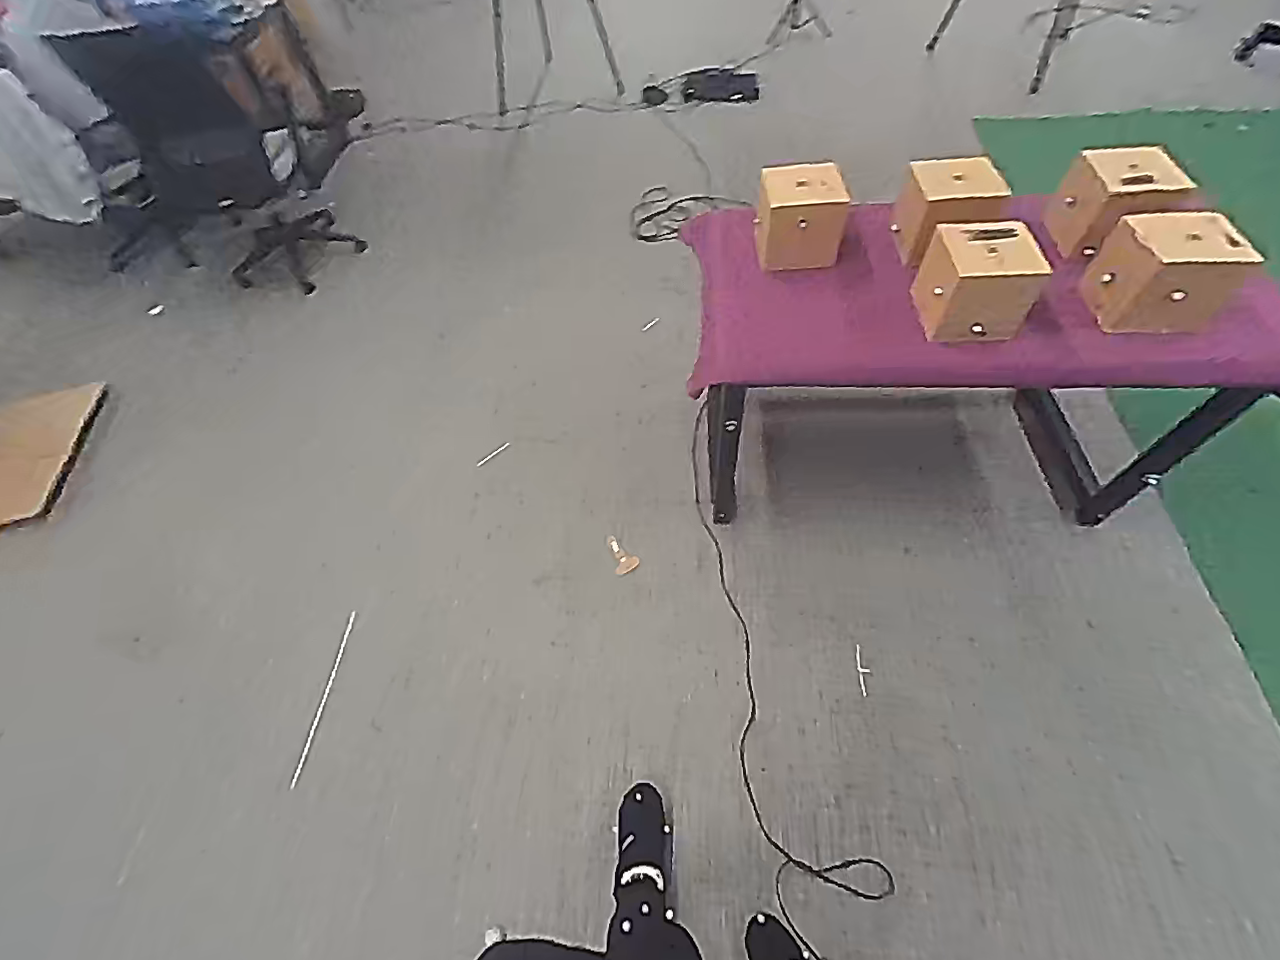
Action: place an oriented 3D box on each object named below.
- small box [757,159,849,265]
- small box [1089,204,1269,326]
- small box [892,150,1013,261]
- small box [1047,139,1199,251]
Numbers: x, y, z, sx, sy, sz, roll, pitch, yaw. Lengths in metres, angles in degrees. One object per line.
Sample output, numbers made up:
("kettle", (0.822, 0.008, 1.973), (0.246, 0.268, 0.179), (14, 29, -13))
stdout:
("small box", (0.378, -0.633, 1.289), (0.179, 0.176, 0.168), (-2, 57, 4))
("small box", (1.052, -0.425, 1.083), (0.179, 0.176, 0.168), (1, 56, 8))
("small box", (0.714, -0.633, 1.258), (0.179, 0.176, 0.168), (-2, 56, 6))
("small box", (1.071, -0.634, 1.219), (0.168, 0.176, 0.179), (1, 55, 6))
